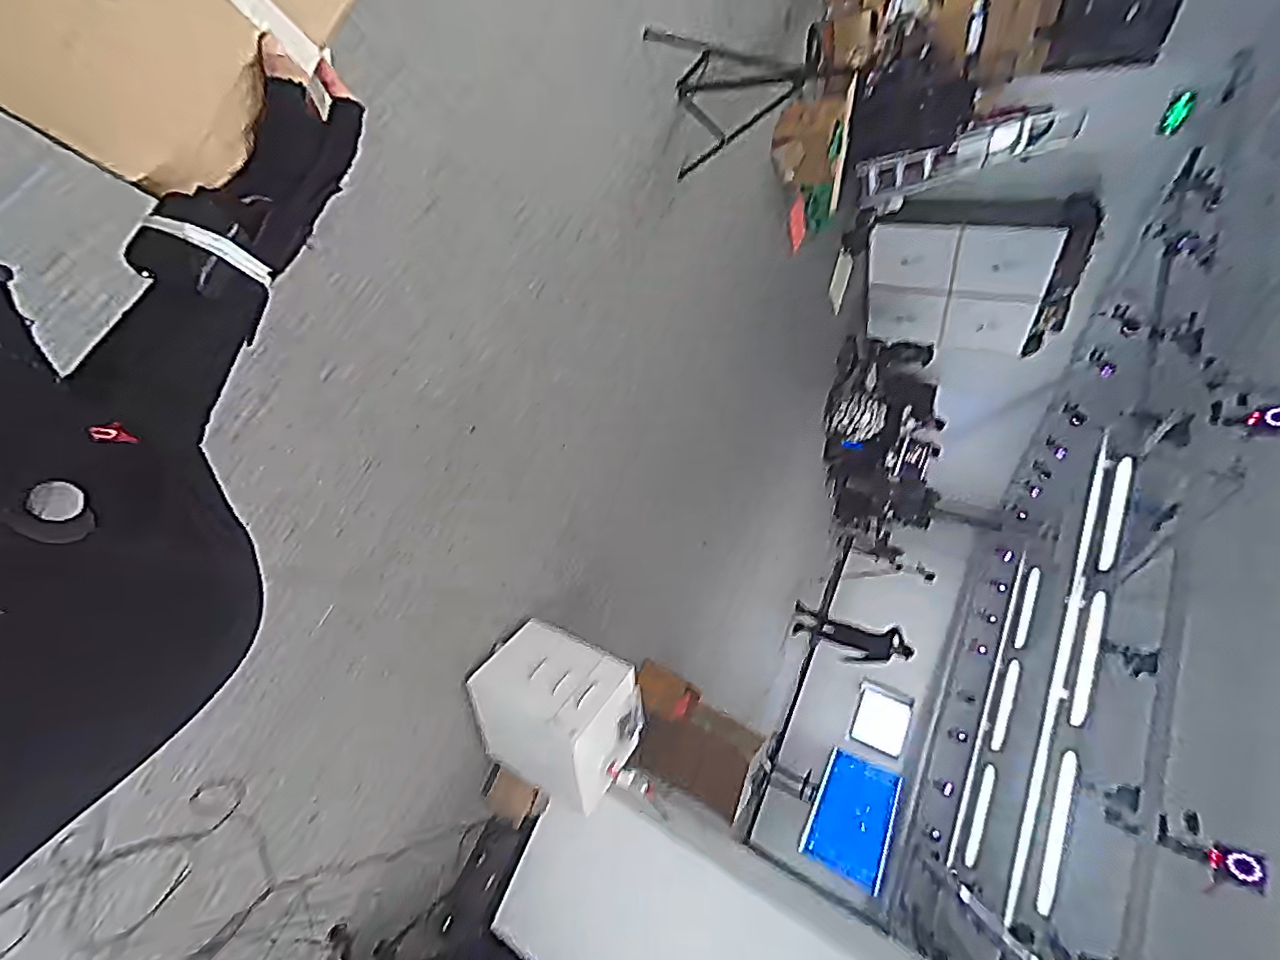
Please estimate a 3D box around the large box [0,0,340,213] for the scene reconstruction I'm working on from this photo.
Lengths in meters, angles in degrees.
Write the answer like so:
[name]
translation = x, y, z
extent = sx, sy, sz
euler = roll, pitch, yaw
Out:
[large box]
translation = -0.473, -0.458, 0.340
extent = 0.320, 0.320, 0.408
euler = -59, 152, 1
